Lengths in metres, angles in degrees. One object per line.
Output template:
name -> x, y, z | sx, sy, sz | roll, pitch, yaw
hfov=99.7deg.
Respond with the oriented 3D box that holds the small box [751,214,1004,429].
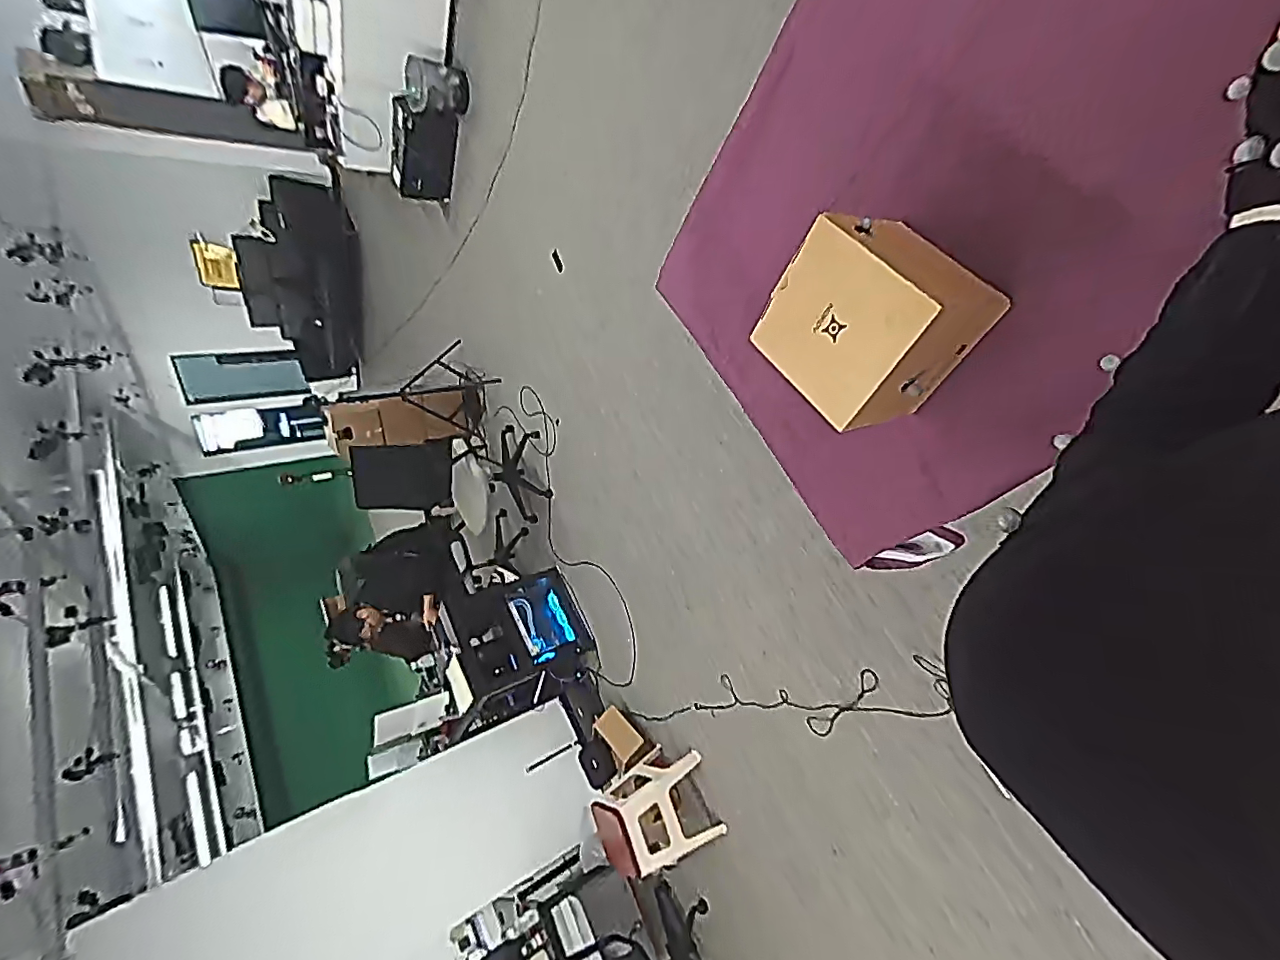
small box -> 0.272, -0.187, 0.634 | 0.179, 0.176, 0.168 | 56, 141, 28
